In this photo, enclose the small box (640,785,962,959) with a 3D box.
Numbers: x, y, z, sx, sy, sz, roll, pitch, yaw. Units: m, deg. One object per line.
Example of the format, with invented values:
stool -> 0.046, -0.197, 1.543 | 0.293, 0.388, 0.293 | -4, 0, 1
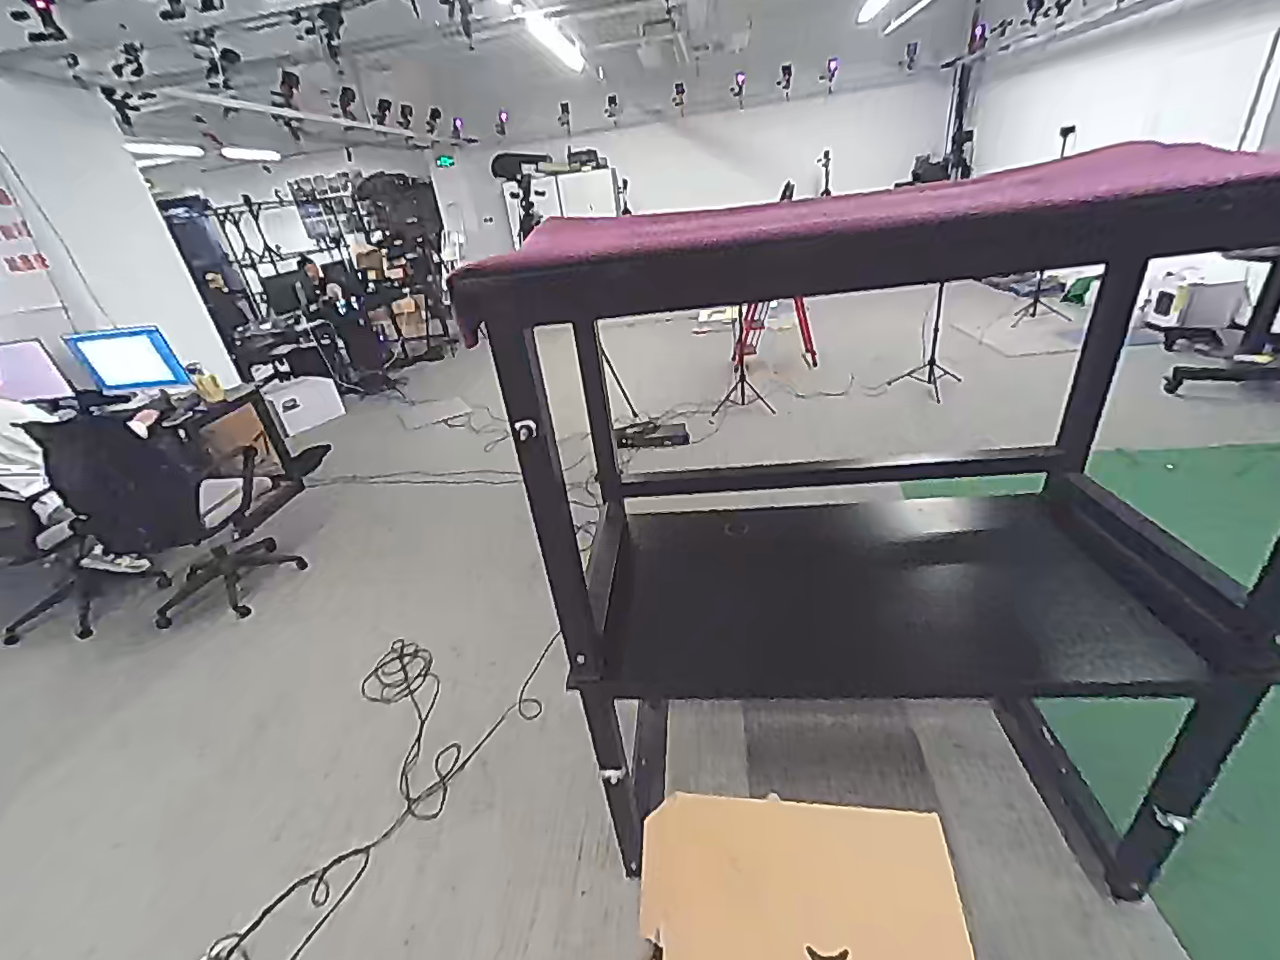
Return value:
small box -> 0.088, 0.316, 0.352 | 0.168, 0.176, 0.179 | 6, 53, -1
